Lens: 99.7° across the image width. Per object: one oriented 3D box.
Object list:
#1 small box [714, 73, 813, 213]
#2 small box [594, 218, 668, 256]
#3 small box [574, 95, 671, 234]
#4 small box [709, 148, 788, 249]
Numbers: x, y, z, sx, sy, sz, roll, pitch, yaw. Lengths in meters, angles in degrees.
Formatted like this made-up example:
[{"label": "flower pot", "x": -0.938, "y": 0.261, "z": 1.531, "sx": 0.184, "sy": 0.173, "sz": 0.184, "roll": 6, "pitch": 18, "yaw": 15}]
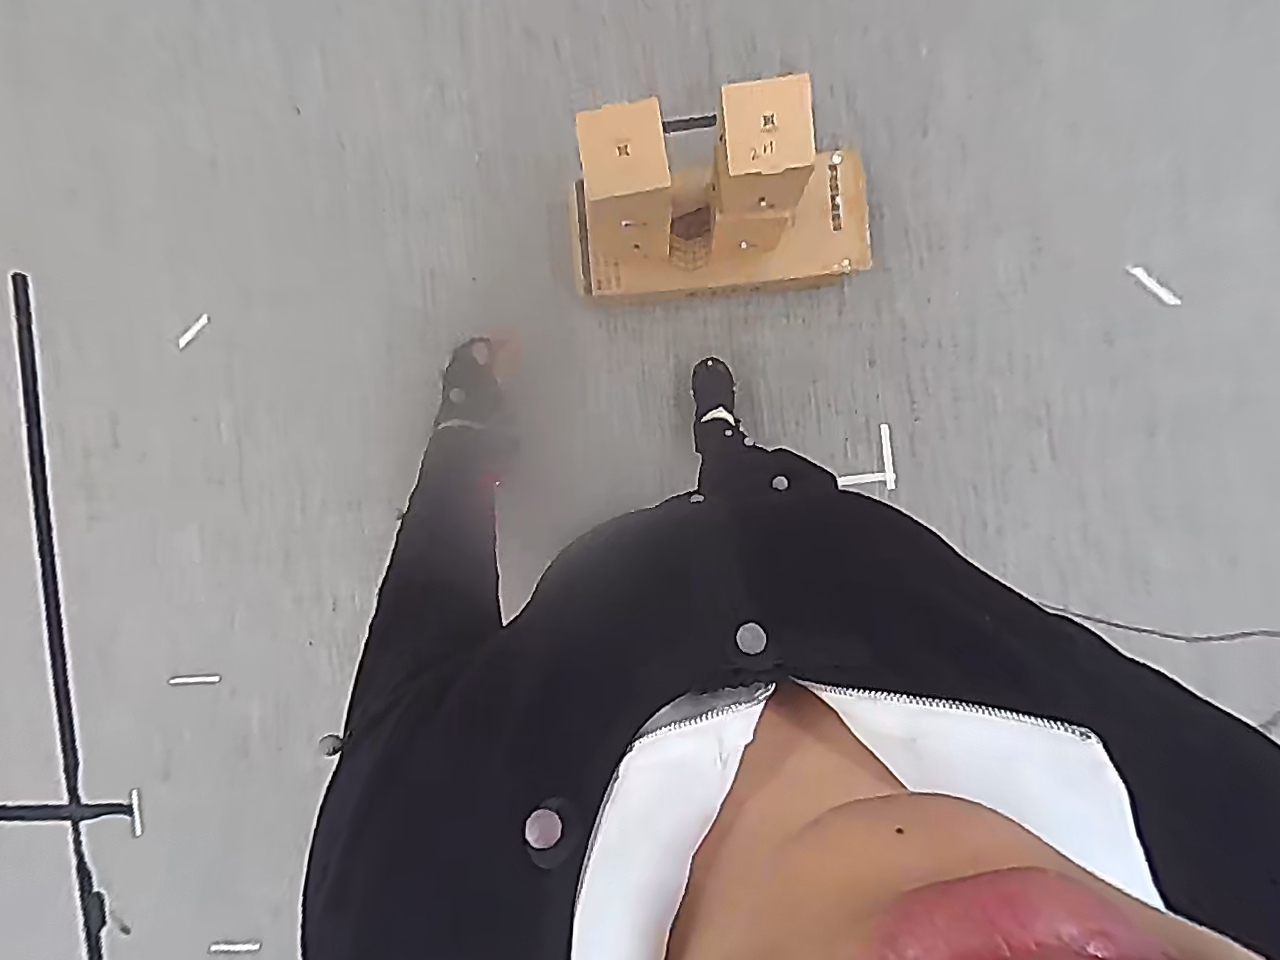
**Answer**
[{"label": "small box", "x": 0.244, "y": -0.675, "z": 1.101, "sx": 0.168, "sy": 0.176, "sz": 0.179, "roll": -5, "pitch": 91, "yaw": 4}, {"label": "small box", "x": -0.019, "y": -0.646, "z": 1.282, "sx": 0.168, "sy": 0.176, "sz": 0.179, "roll": -3, "pitch": 92, "yaw": 4}, {"label": "small box", "x": -0.031, "y": -0.641, "z": 1.119, "sx": 0.168, "sy": 0.176, "sz": 0.179, "roll": -10, "pitch": 92, "yaw": 4}, {"label": "small box", "x": 0.249, "y": -0.665, "z": 1.268, "sx": 0.168, "sy": 0.176, "sz": 0.179, "roll": -1, "pitch": 92, "yaw": 4}]
